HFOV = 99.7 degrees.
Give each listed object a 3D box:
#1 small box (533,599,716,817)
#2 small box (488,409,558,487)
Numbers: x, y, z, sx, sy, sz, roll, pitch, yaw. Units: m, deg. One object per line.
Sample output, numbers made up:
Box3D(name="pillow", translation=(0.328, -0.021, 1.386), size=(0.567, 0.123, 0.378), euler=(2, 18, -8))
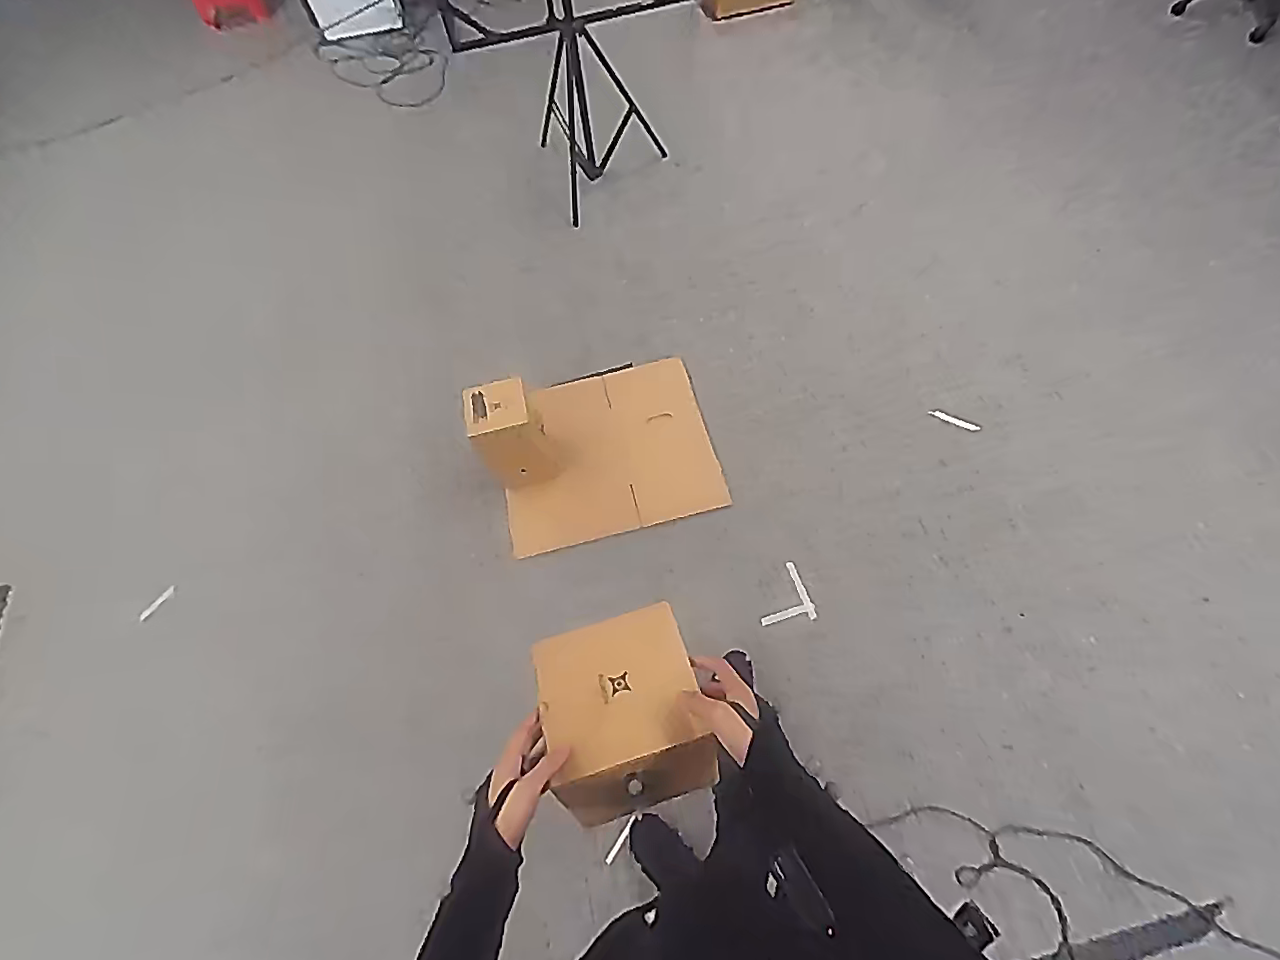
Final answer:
Box3D(name="small box", translation=(-0.016, 0.278, 0.658), size=(0.179, 0.176, 0.168), euler=(-17, 46, -5))
Box3D(name="small box", translation=(-0.367, -0.098, 1.732), size=(0.179, 0.176, 0.168), euler=(-15, 63, -1))
